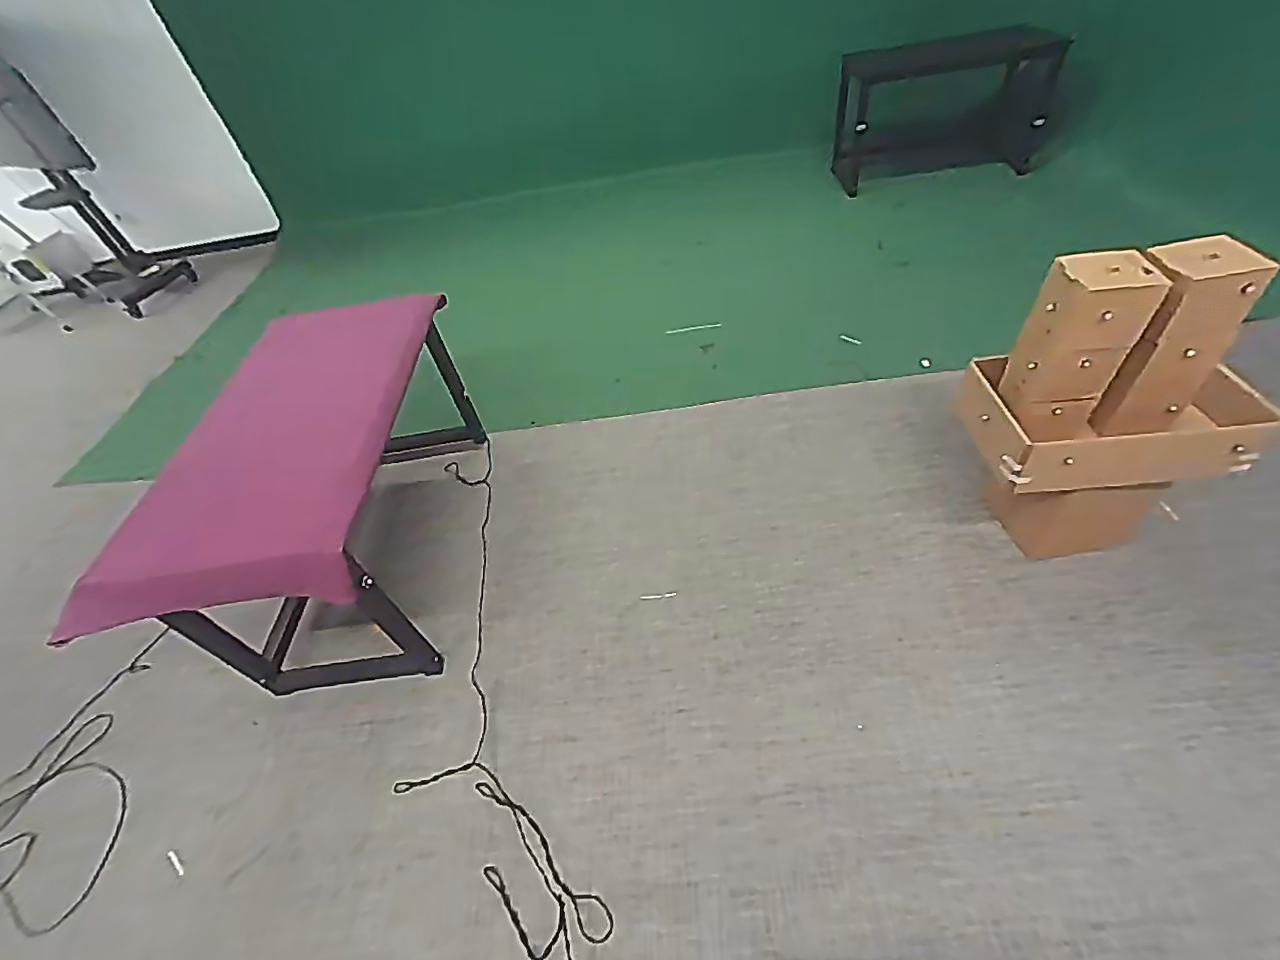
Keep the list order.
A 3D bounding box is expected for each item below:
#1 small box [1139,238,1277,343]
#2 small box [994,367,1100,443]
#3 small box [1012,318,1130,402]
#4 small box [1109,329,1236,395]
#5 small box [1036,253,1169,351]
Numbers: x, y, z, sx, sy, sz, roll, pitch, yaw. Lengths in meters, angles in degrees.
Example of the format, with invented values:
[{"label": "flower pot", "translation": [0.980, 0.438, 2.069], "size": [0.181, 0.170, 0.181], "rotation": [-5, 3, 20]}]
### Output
[{"label": "small box", "translation": [1.329, -0.454, 1.307], "size": [0.179, 0.176, 0.168], "rotation": [-8, 46, 7]}, {"label": "small box", "translation": [1.162, -0.220, 1.567], "size": [0.179, 0.176, 0.168], "rotation": [-4, 47, 6]}, {"label": "small box", "translation": [1.131, -0.323, 1.444], "size": [0.179, 0.176, 0.168], "rotation": [-2, 48, 8]}, {"label": "small box", "translation": [1.371, -0.346, 1.426], "size": [0.179, 0.176, 0.168], "rotation": [-6, 48, 9]}, {"label": "small box", "translation": [1.109, -0.430, 1.322], "size": [0.179, 0.176, 0.168], "rotation": [-2, 48, 9]}]
